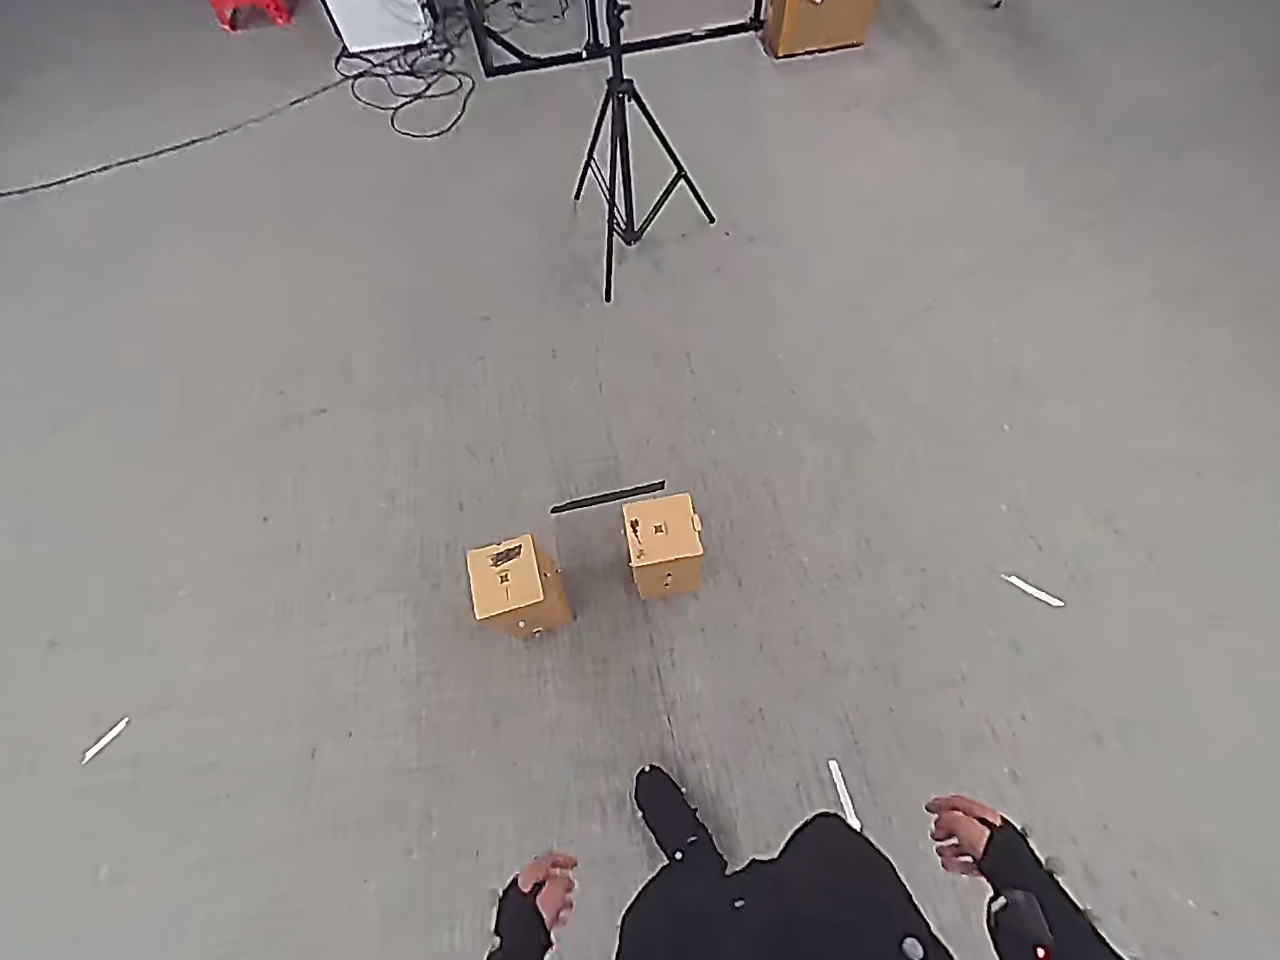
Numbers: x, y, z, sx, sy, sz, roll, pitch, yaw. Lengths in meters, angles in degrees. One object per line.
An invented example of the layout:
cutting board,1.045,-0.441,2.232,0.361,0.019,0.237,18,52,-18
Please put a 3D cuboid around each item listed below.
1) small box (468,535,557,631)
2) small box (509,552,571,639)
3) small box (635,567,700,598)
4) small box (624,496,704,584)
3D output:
small box,-0.317,0.263,1.365,0.168,0.176,0.179,-16,65,-3
small box,-0.301,0.327,1.515,0.168,0.176,0.179,-17,65,-4
small box,0.067,0.229,1.537,0.179,0.176,0.168,-10,65,-2
small box,0.057,0.158,1.390,0.179,0.176,0.168,-9,64,-2
